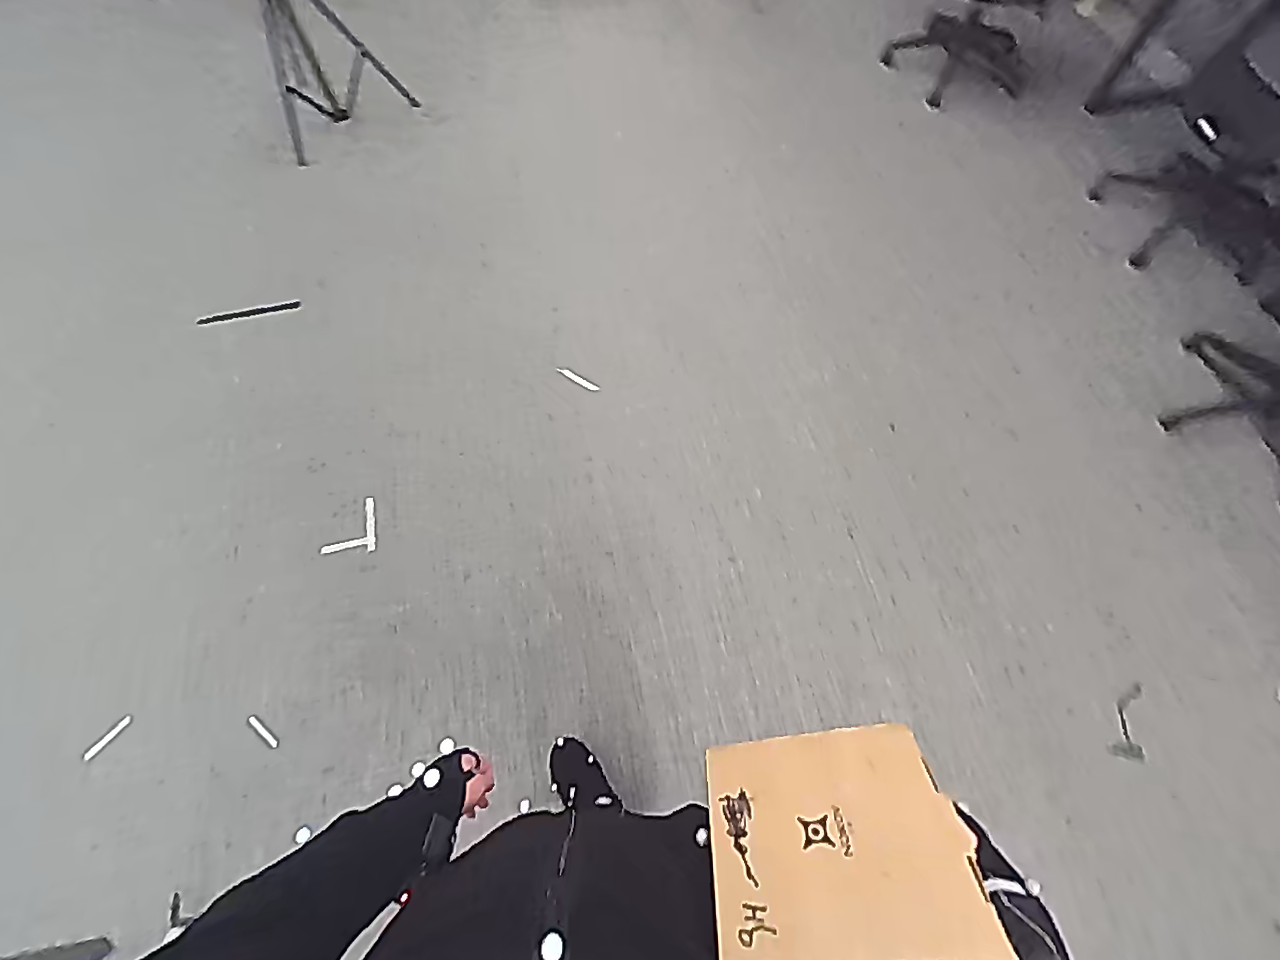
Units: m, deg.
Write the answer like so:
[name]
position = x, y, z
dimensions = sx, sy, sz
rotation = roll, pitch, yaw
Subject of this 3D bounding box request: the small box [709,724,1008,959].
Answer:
[small box]
position = 0.161, 0.334, 0.442
dimensions = 0.179, 0.176, 0.168
rotation = -12, 24, 8
